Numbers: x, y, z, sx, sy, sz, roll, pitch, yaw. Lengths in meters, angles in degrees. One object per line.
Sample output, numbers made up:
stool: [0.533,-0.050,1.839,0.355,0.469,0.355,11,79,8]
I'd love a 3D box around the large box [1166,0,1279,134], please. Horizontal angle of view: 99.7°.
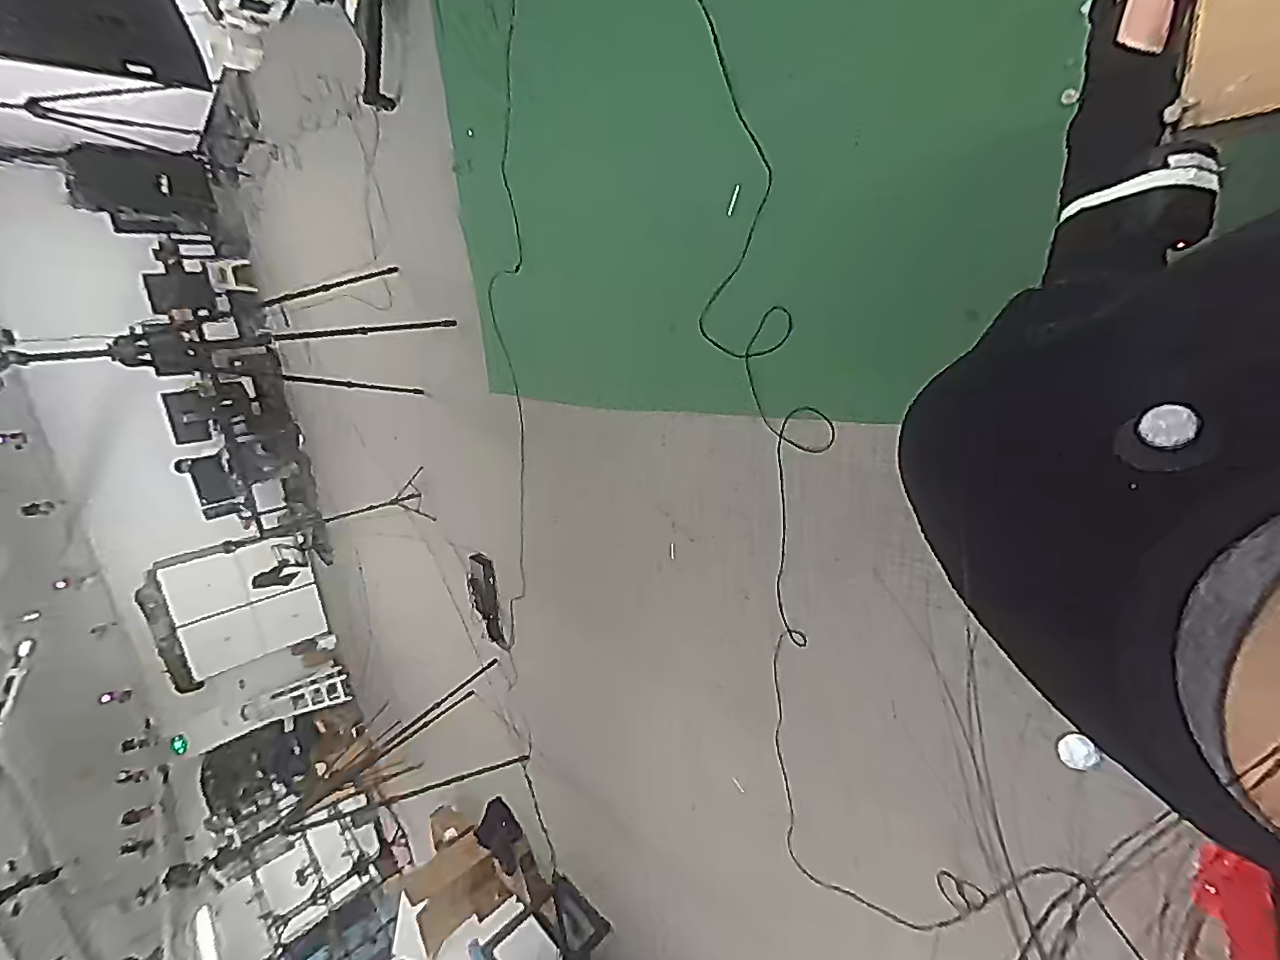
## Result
large box: [0.624,-0.444,0.325,0.408,0.320,0.320,11,118,42]
